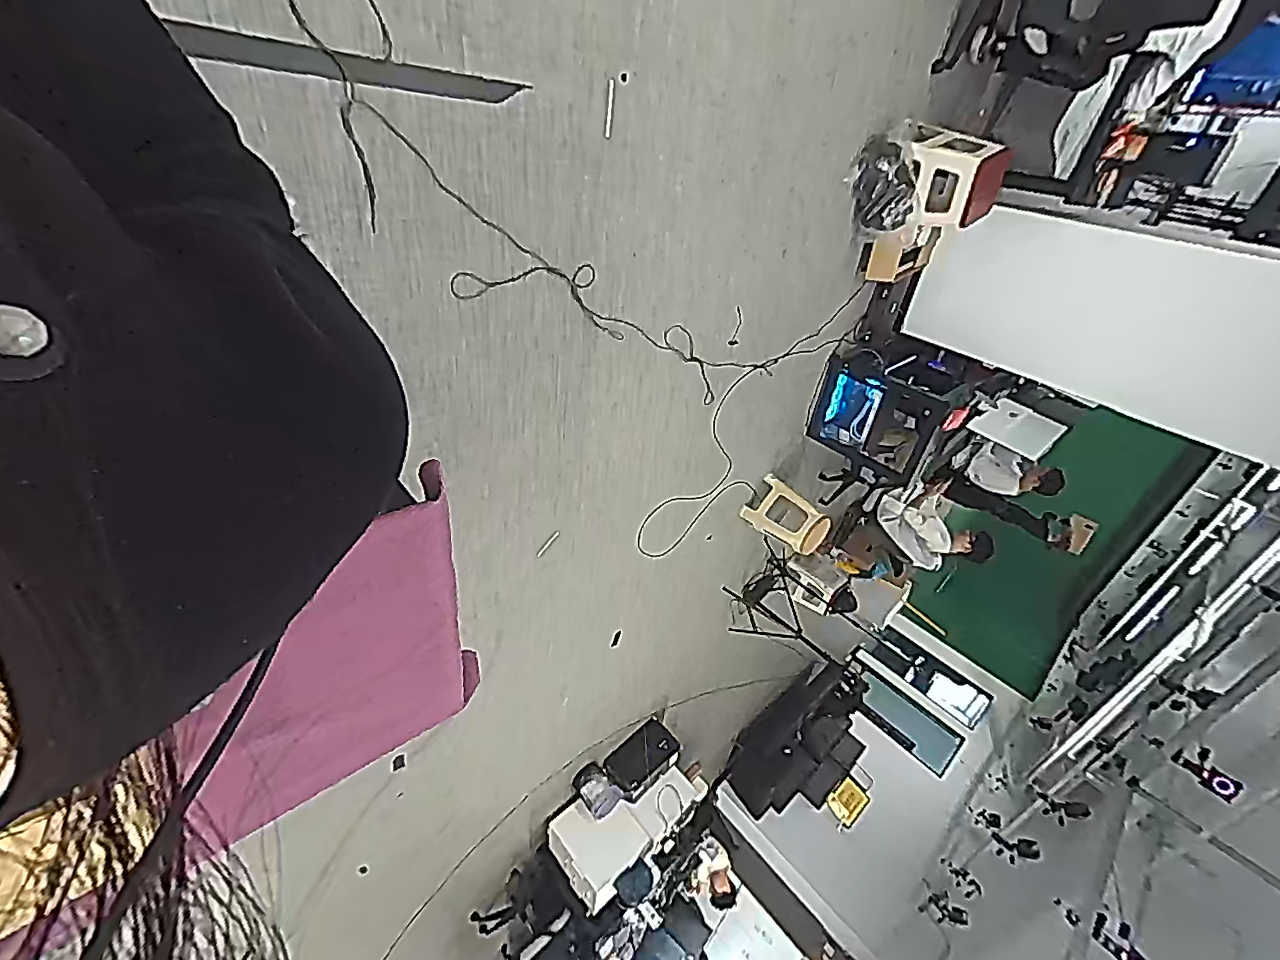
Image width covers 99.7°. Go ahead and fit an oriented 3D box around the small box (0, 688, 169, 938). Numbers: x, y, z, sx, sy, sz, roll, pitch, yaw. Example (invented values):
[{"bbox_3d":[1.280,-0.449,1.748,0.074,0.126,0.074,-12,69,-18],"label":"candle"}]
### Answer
[{"bbox_3d":[-0.727,0.401,0.673,0.168,0.176,0.179,-21,135,-40],"label":"small box"}]
